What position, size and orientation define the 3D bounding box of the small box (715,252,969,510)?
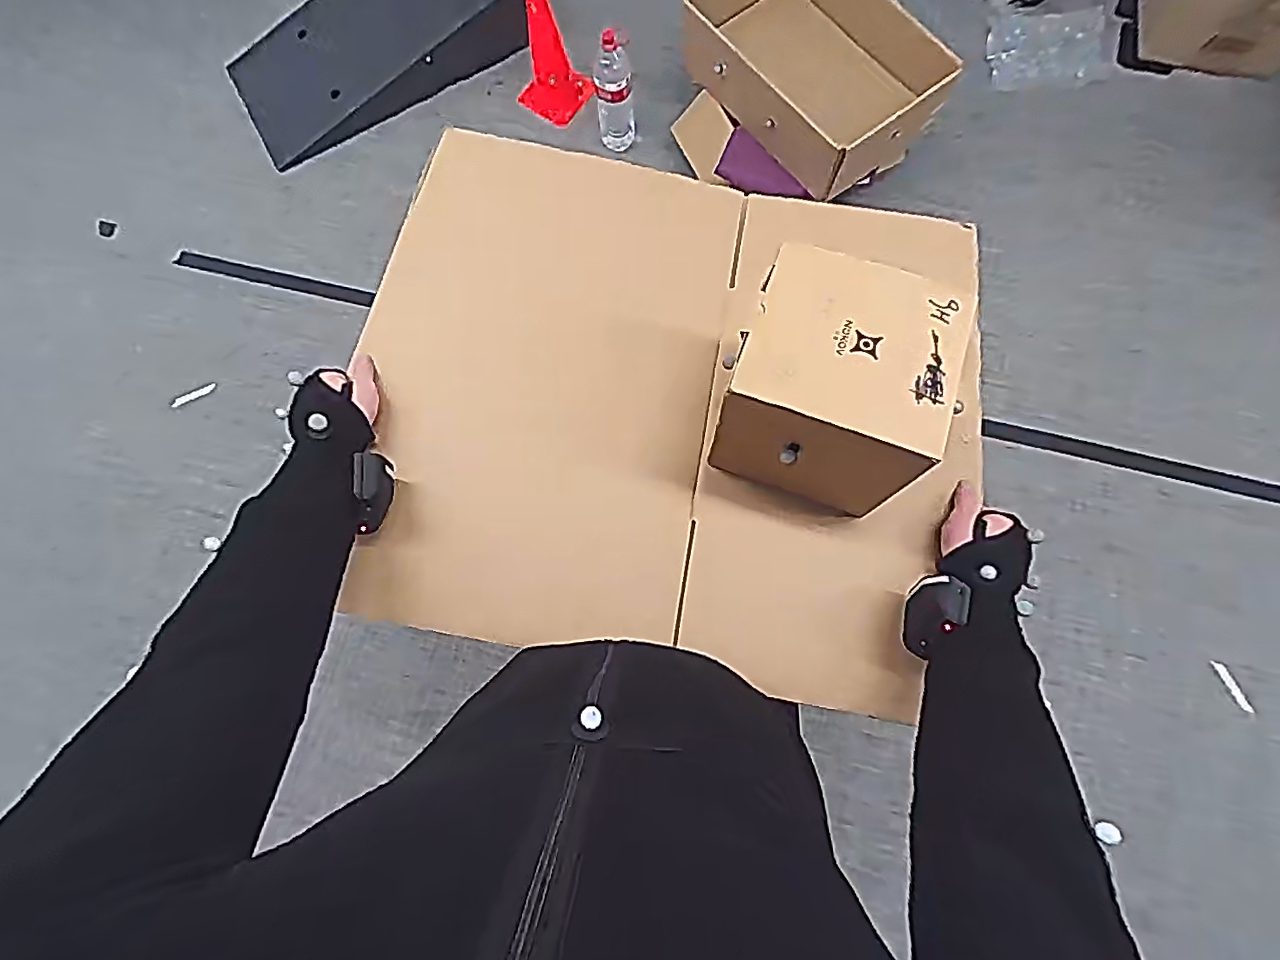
[{"bbox_3d":[0.182,-0.086,0.537,0.179,0.176,0.168,19,73,9],"label":"small box"}]
